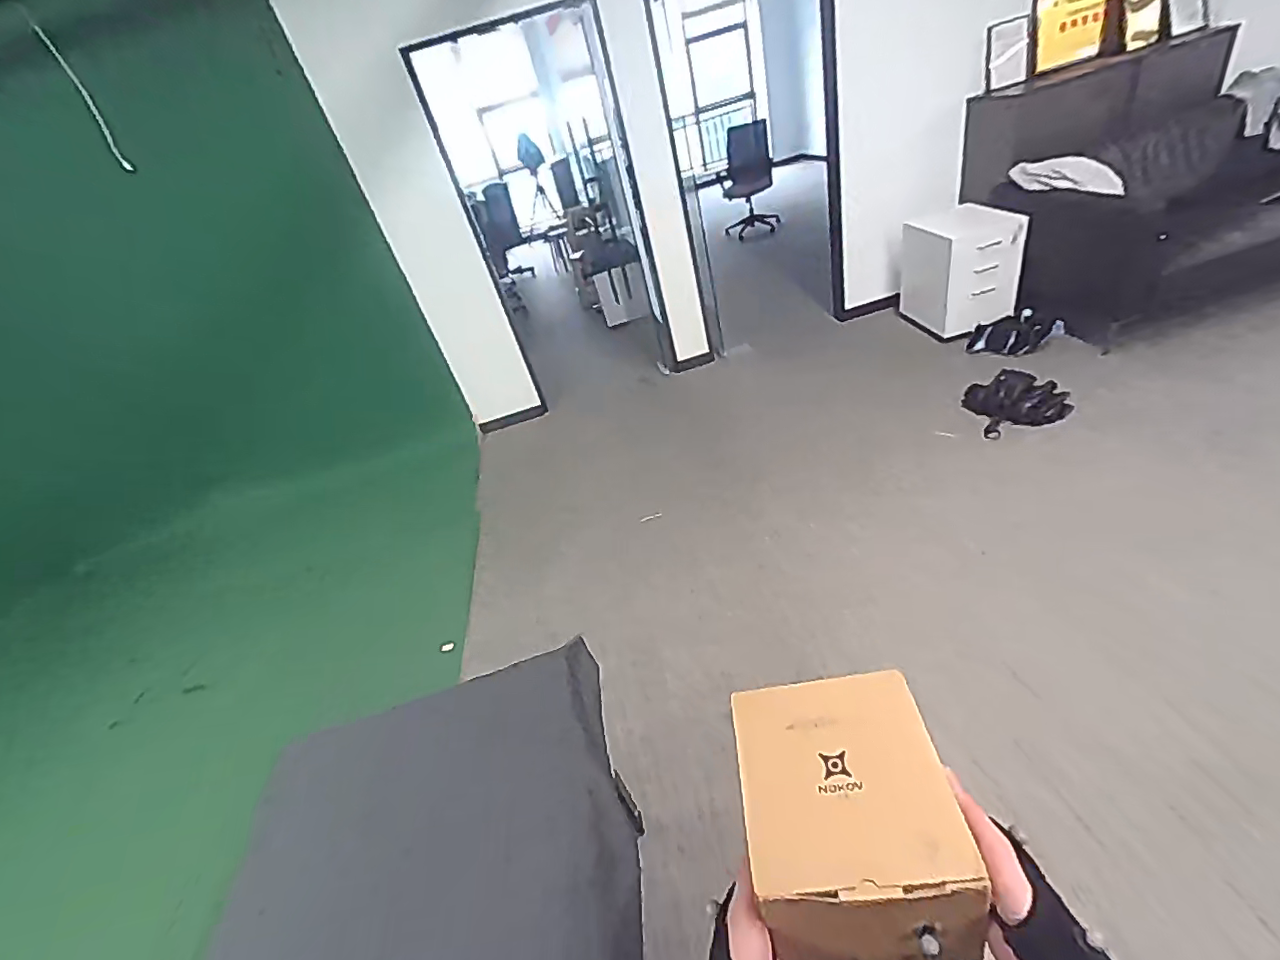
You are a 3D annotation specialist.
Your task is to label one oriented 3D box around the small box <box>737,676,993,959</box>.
[{"bbox_3d":[0.191,0.313,0.493,0.168,0.176,0.179,-12,30,10],"label":"small box"}]
